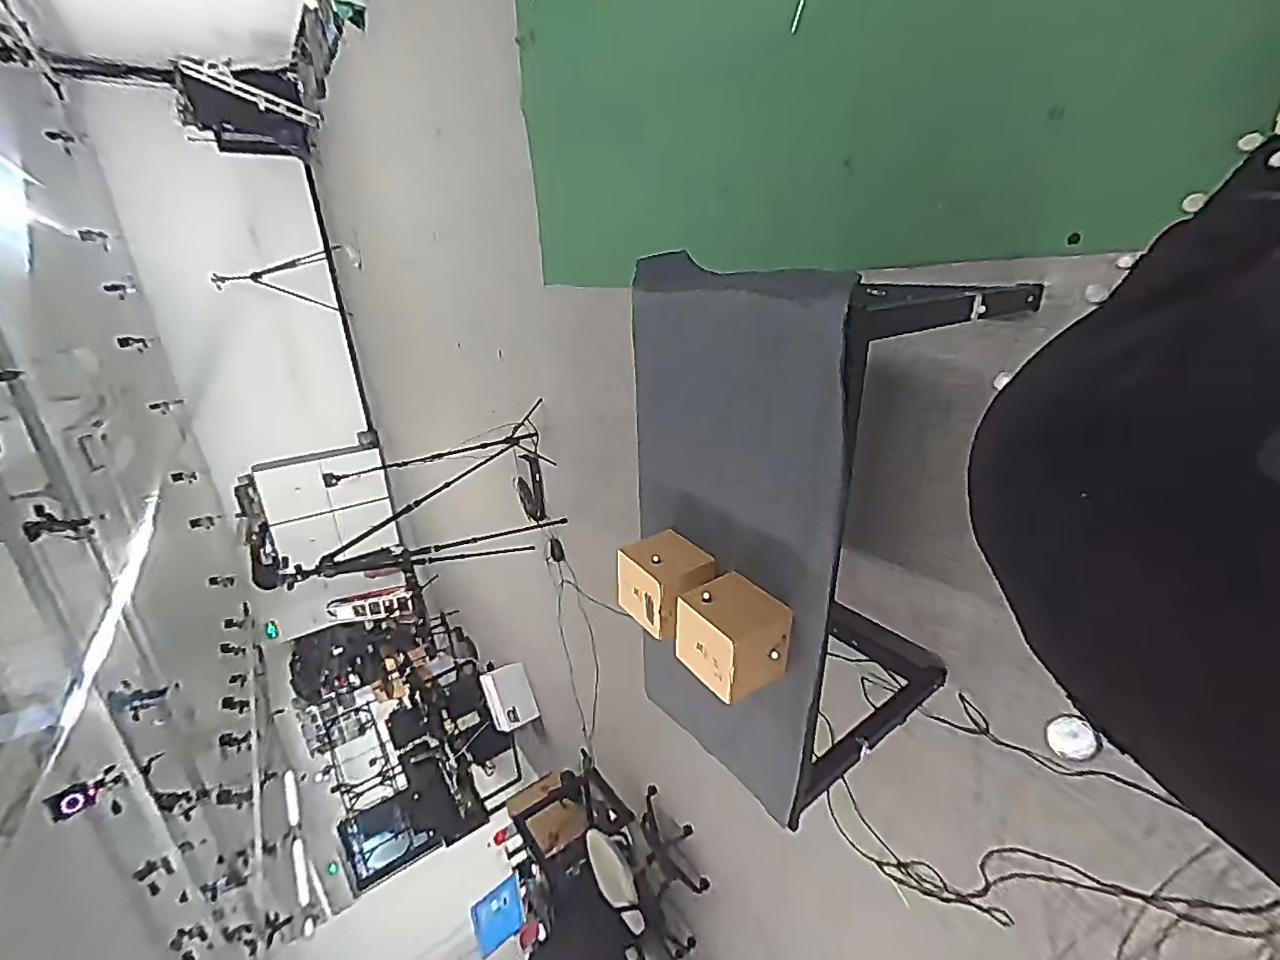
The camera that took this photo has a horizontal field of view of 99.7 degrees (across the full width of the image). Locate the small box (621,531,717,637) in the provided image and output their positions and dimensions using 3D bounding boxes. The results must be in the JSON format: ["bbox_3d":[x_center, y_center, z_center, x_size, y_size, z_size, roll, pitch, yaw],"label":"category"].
[{"bbox_3d":[0.073,0.245,1.325,0.179,0.176,0.168,30,128,47],"label":"small box"}]

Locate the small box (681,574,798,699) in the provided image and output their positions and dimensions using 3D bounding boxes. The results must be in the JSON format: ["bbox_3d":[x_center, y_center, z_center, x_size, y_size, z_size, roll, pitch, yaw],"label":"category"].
[{"bbox_3d":[0.207,0.322,1.157,0.179,0.176,0.168,30,129,48],"label":"small box"}]
